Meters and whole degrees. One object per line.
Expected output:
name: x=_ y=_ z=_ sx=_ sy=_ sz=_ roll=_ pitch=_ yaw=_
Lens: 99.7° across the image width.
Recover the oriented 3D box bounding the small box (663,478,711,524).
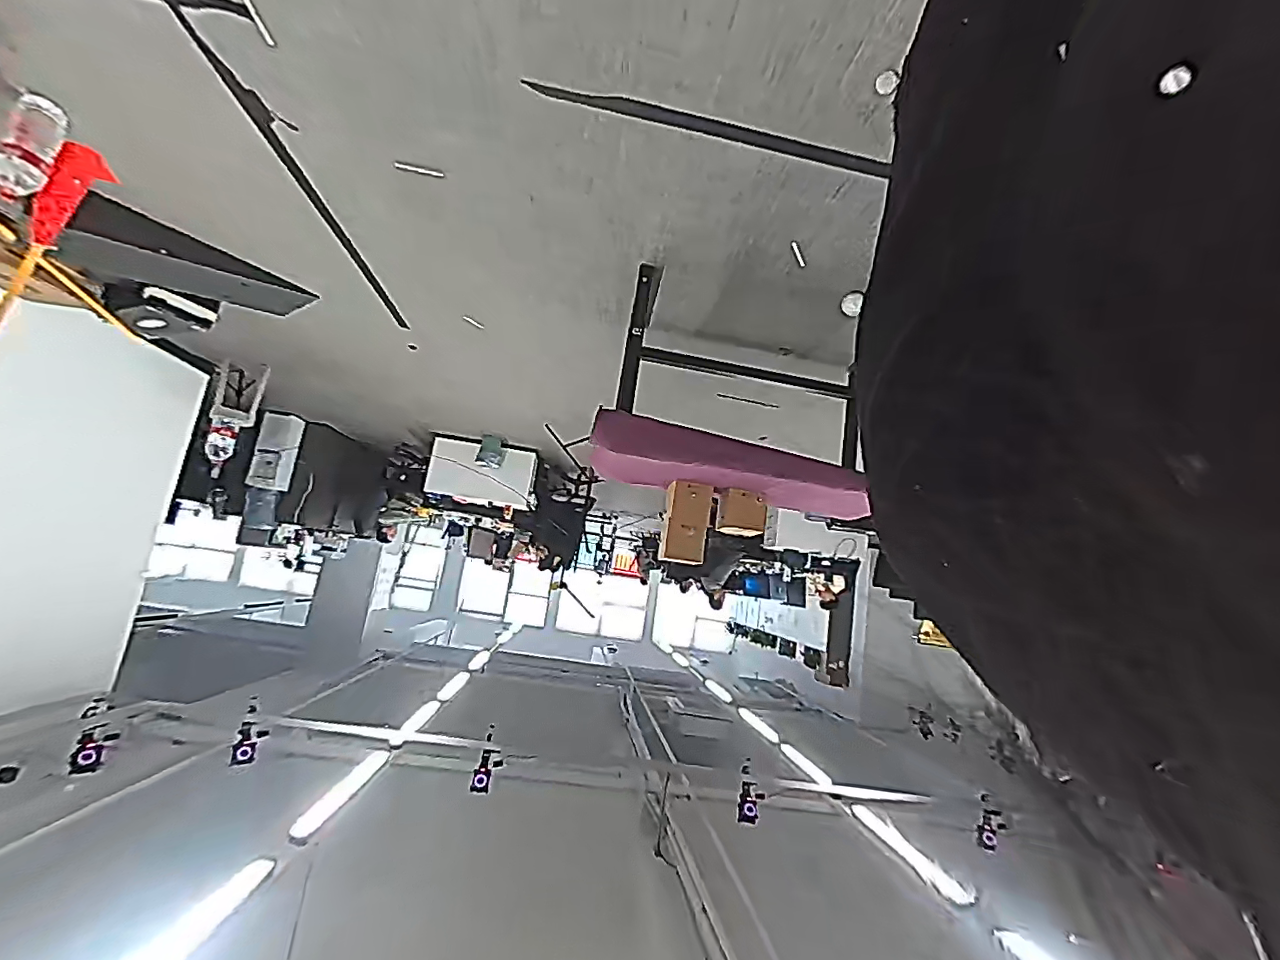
small box: x=0.202 y=0.097 z=2.325 sx=0.168 sy=0.176 sz=0.179 roll=9 pitch=169 yaw=-6

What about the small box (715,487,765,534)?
small box: x=0.432 y=0.132 z=2.330 sx=0.168 sy=0.176 sz=0.179 roll=10 pitch=169 yaw=-6

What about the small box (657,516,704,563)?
small box: x=0.174 y=0.255 z=2.299 sx=0.168 sy=0.176 sz=0.179 roll=8 pitch=168 yaw=-4
